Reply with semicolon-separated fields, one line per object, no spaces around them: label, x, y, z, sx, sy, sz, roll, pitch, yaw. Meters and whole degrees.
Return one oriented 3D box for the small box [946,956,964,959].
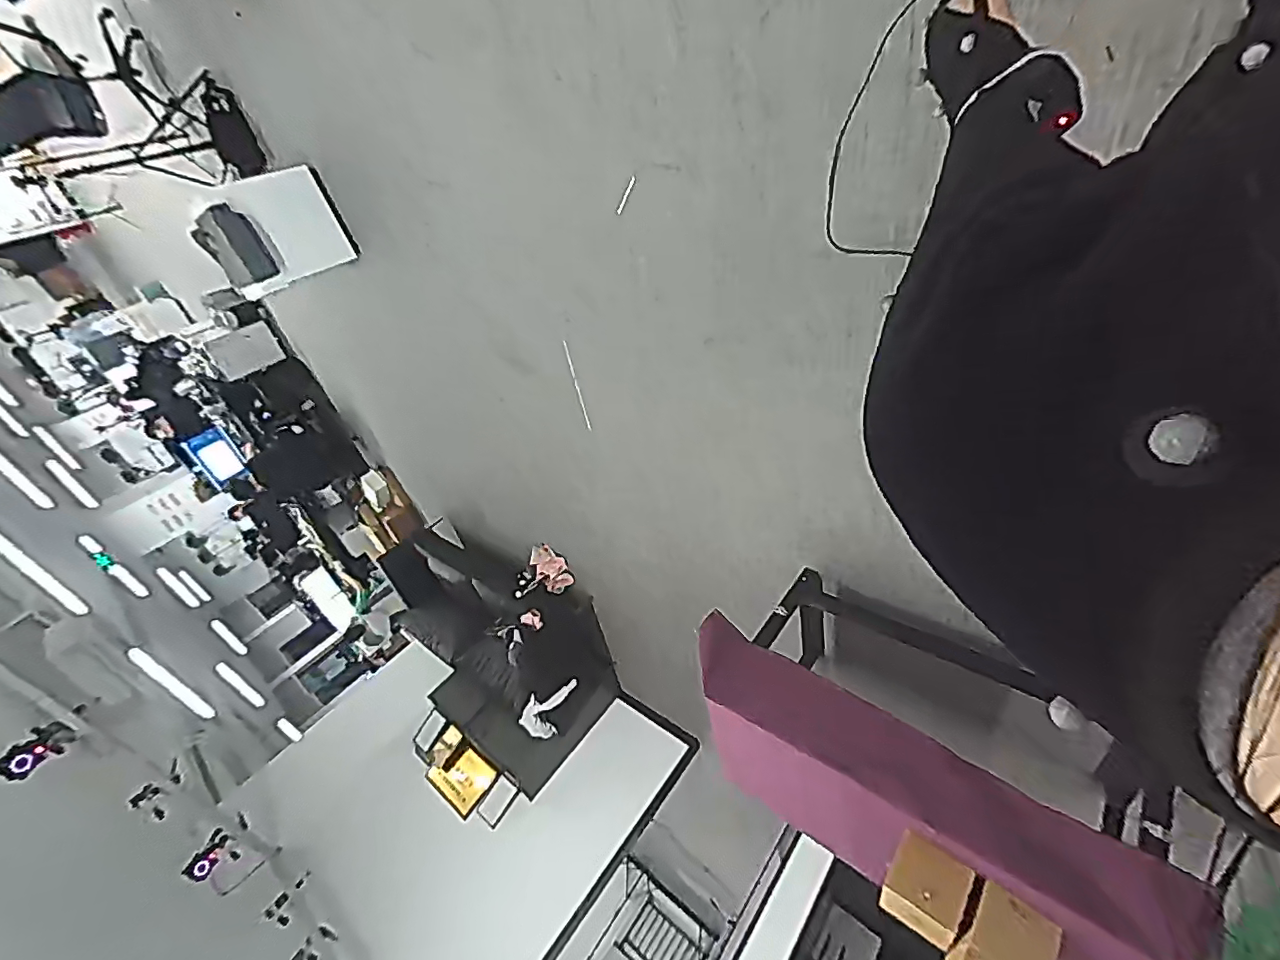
small box;0.775;1.272;1.269;0.168;0.176;0.179;27;139;30
